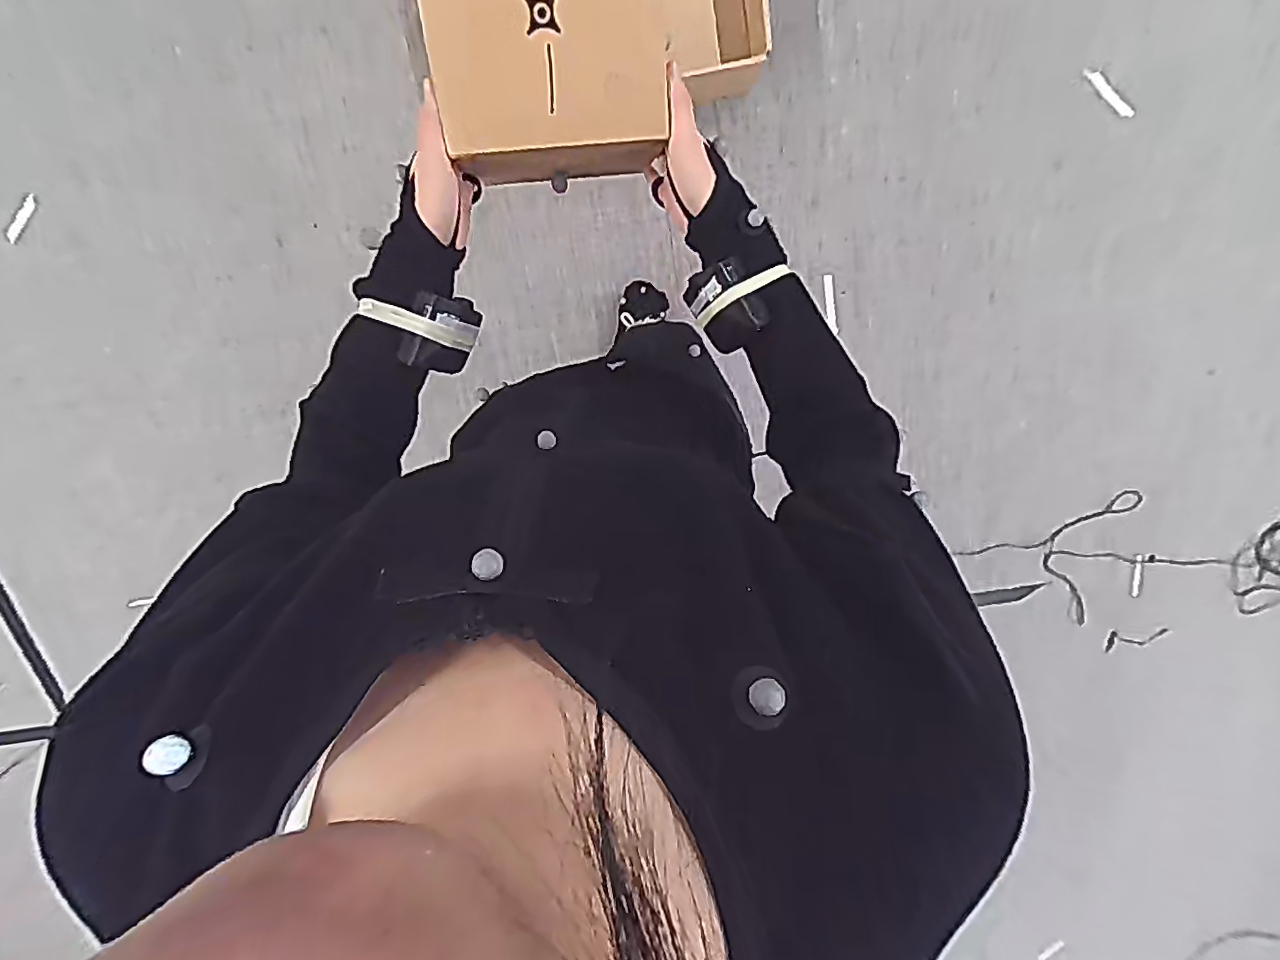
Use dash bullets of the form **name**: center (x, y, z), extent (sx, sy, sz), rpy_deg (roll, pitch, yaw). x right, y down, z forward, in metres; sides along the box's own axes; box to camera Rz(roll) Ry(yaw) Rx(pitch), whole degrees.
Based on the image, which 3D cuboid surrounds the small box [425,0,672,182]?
- **small box**: center (-0.071, -0.355, 0.435), extent (0.168, 0.176, 0.179), rpy_deg (-6, 113, -3)
